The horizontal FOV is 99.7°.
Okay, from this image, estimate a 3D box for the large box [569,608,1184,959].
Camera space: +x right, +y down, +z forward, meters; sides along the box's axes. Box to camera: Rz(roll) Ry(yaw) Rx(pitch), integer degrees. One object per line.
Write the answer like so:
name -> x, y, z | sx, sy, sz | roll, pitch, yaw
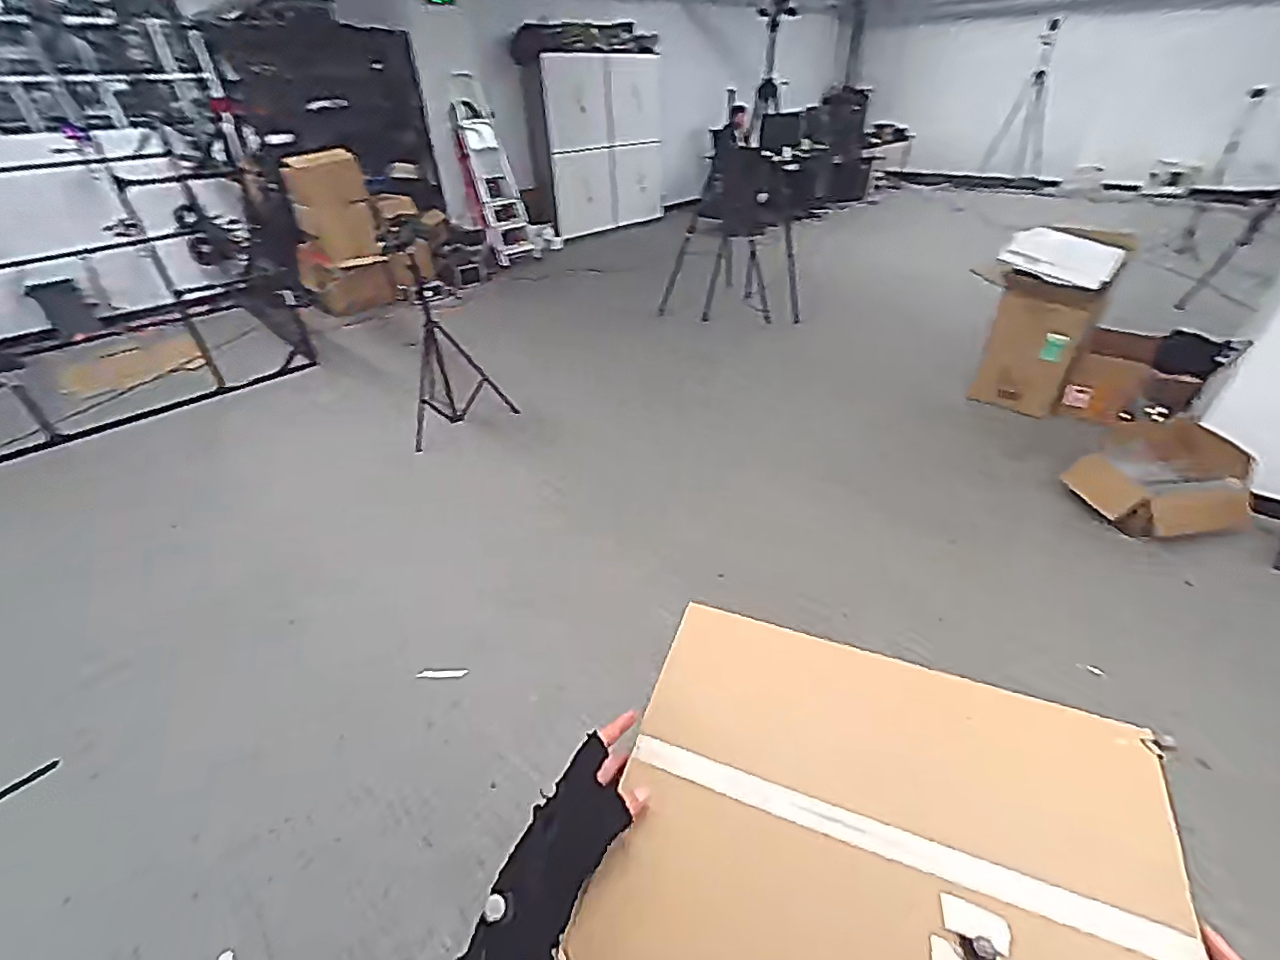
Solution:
large box -> 0.193, 0.380, 0.533 | 0.408, 0.320, 0.320 | 12, 48, 18
